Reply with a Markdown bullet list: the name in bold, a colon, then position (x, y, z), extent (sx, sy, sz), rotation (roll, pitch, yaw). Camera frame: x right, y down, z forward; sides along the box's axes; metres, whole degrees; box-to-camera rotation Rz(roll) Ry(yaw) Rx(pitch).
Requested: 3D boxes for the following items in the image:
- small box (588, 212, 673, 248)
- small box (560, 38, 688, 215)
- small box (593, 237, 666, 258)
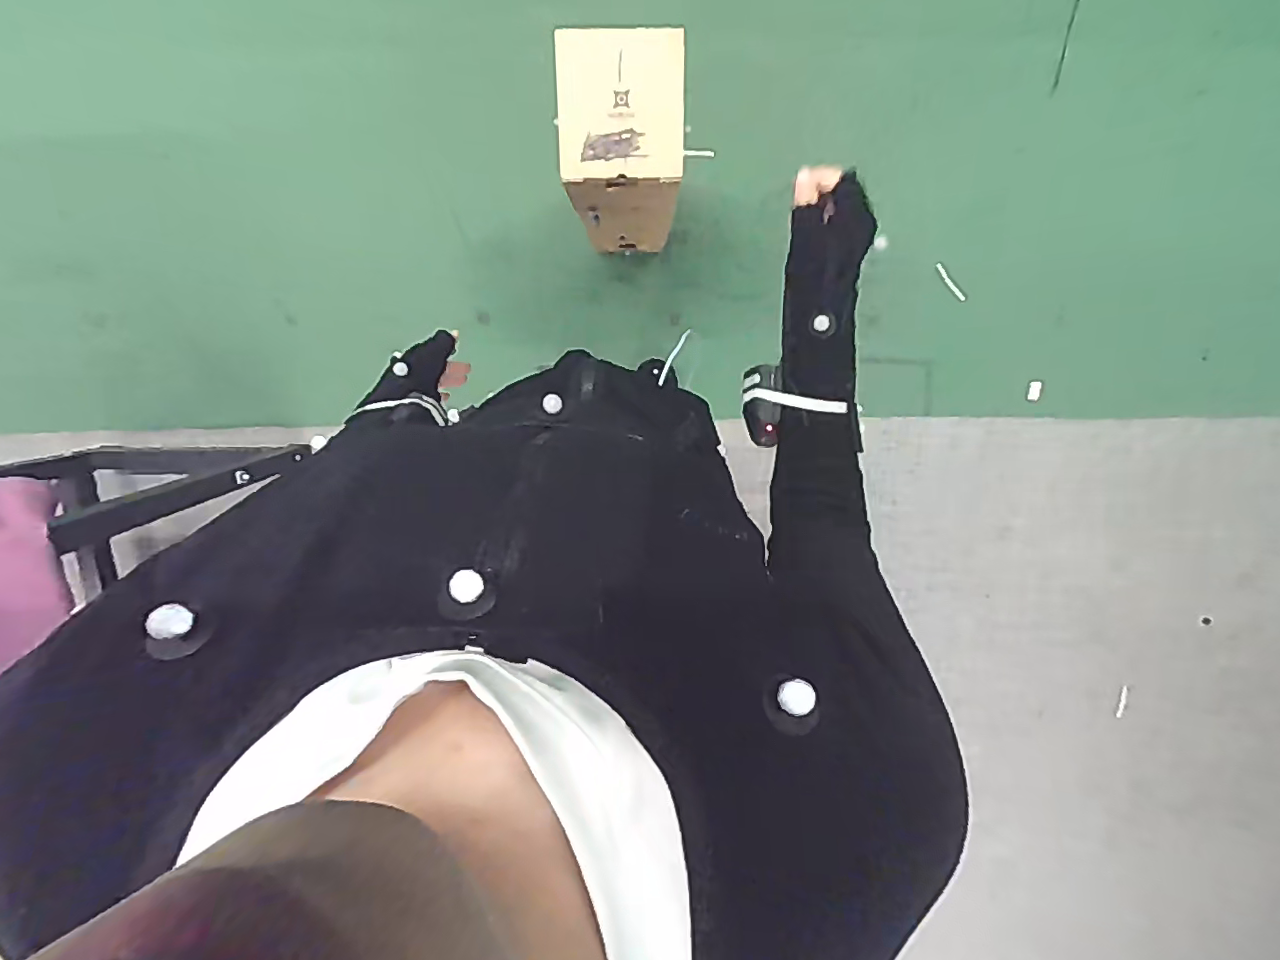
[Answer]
- **small box**: position (-0.020, -0.581, 1.101), extent (0.168, 0.176, 0.179), rotation (-1, 104, 0)
- **small box**: position (-0.021, -0.494, 0.783), extent (0.168, 0.176, 0.179), rotation (0, 103, 0)
- **small box**: position (-0.020, -0.627, 1.257), extent (0.168, 0.176, 0.179), rotation (2, 104, 0)
